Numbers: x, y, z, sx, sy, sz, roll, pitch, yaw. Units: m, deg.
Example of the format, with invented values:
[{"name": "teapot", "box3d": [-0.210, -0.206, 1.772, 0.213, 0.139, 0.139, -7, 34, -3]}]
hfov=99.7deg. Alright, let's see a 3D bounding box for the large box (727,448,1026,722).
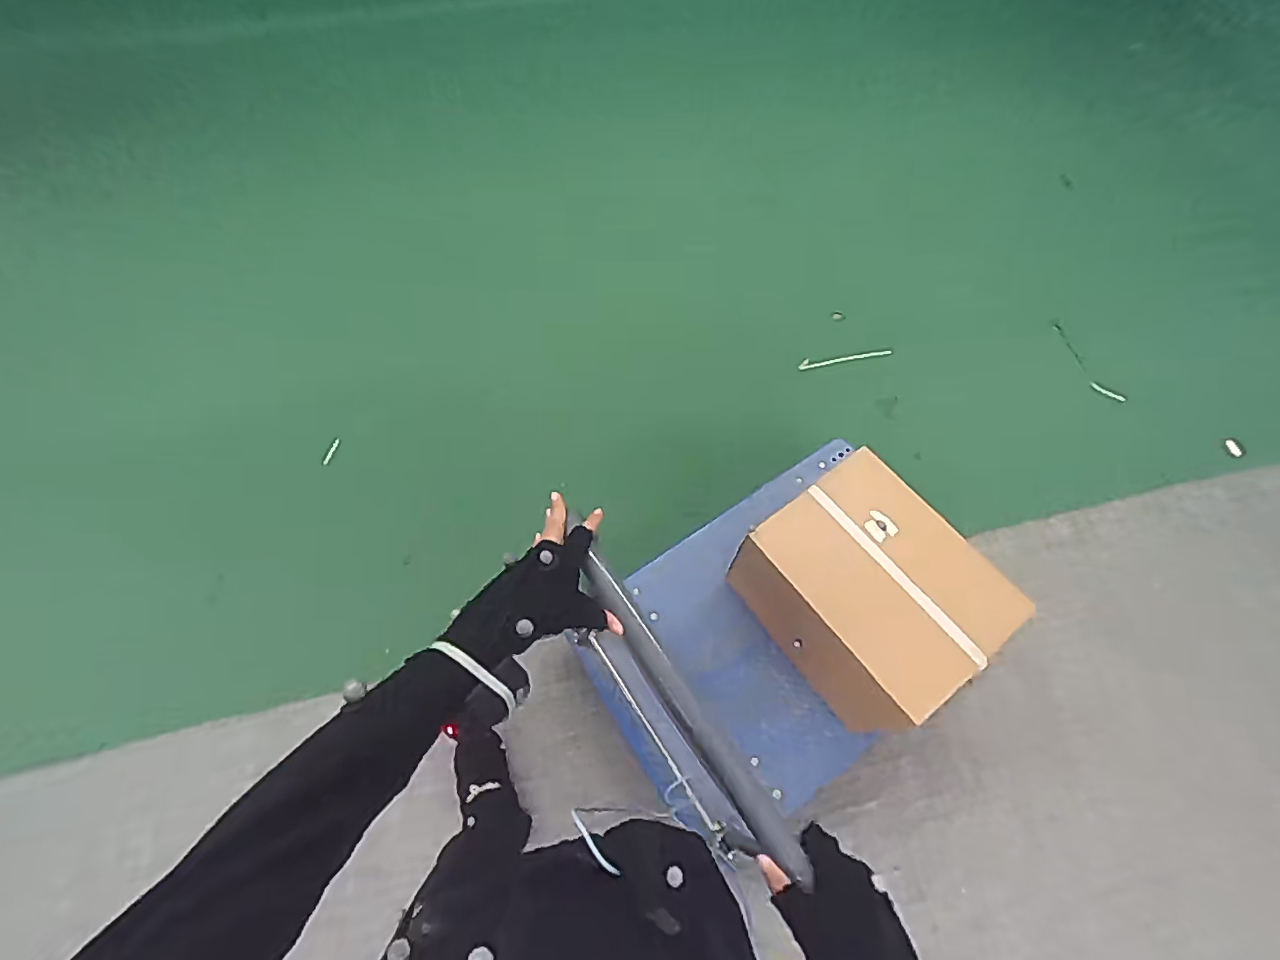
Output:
[{"name": "large box", "box3d": [0.437, 0.222, 1.103, 0.320, 0.320, 0.408, -34, 68, -16]}]
